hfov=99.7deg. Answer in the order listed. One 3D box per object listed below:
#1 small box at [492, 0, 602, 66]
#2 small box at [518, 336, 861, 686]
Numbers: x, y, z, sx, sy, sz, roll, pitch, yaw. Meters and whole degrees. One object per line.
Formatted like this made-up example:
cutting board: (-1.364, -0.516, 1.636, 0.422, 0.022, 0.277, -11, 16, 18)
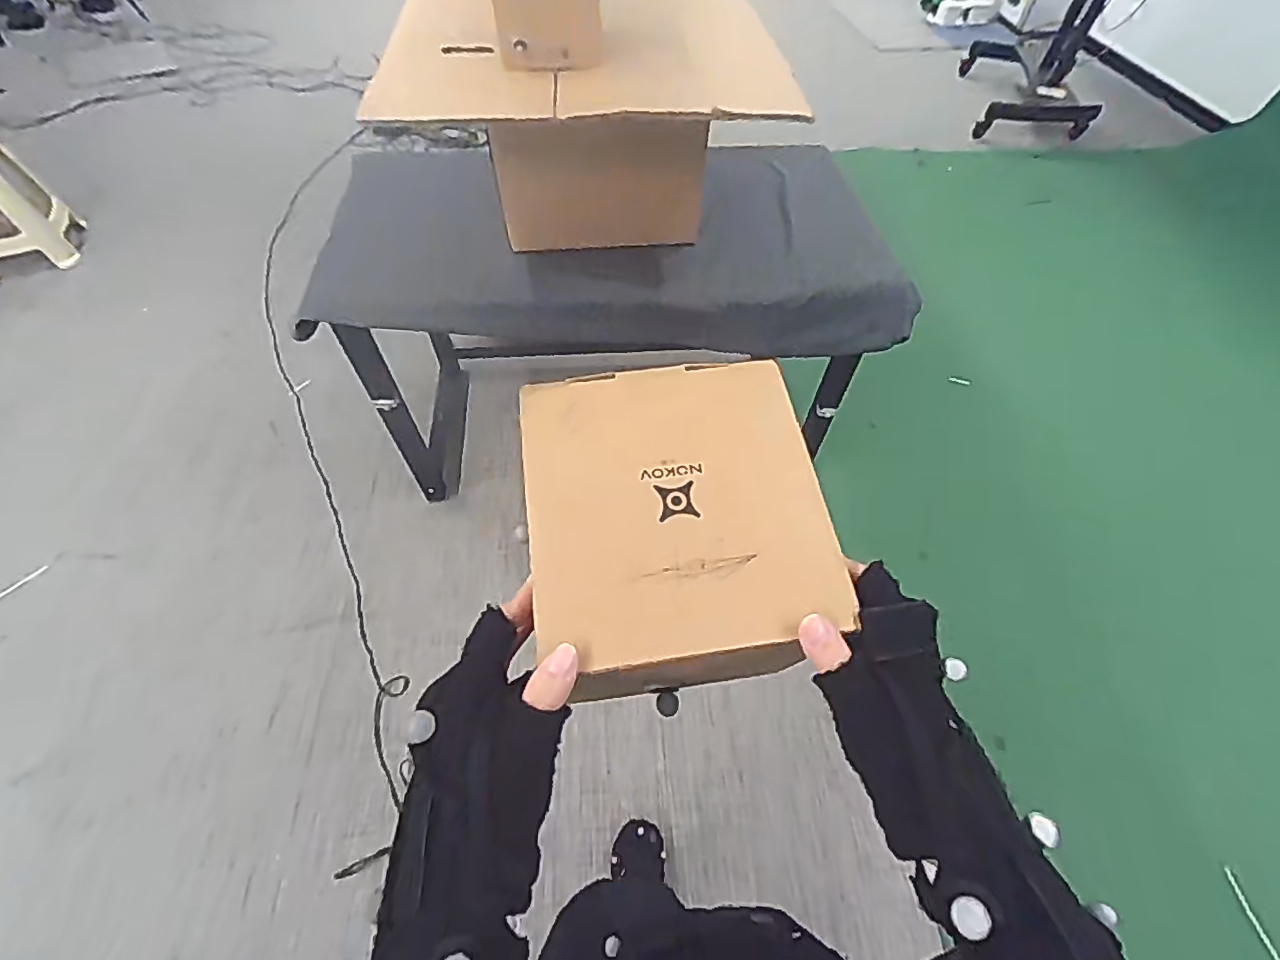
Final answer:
small box: (-0.150, -0.797, 0.874, 0.168, 0.176, 0.179, -4, 56, -2)
small box: (0.014, 0.030, 0.365, 0.168, 0.176, 0.179, -7, 65, -5)
